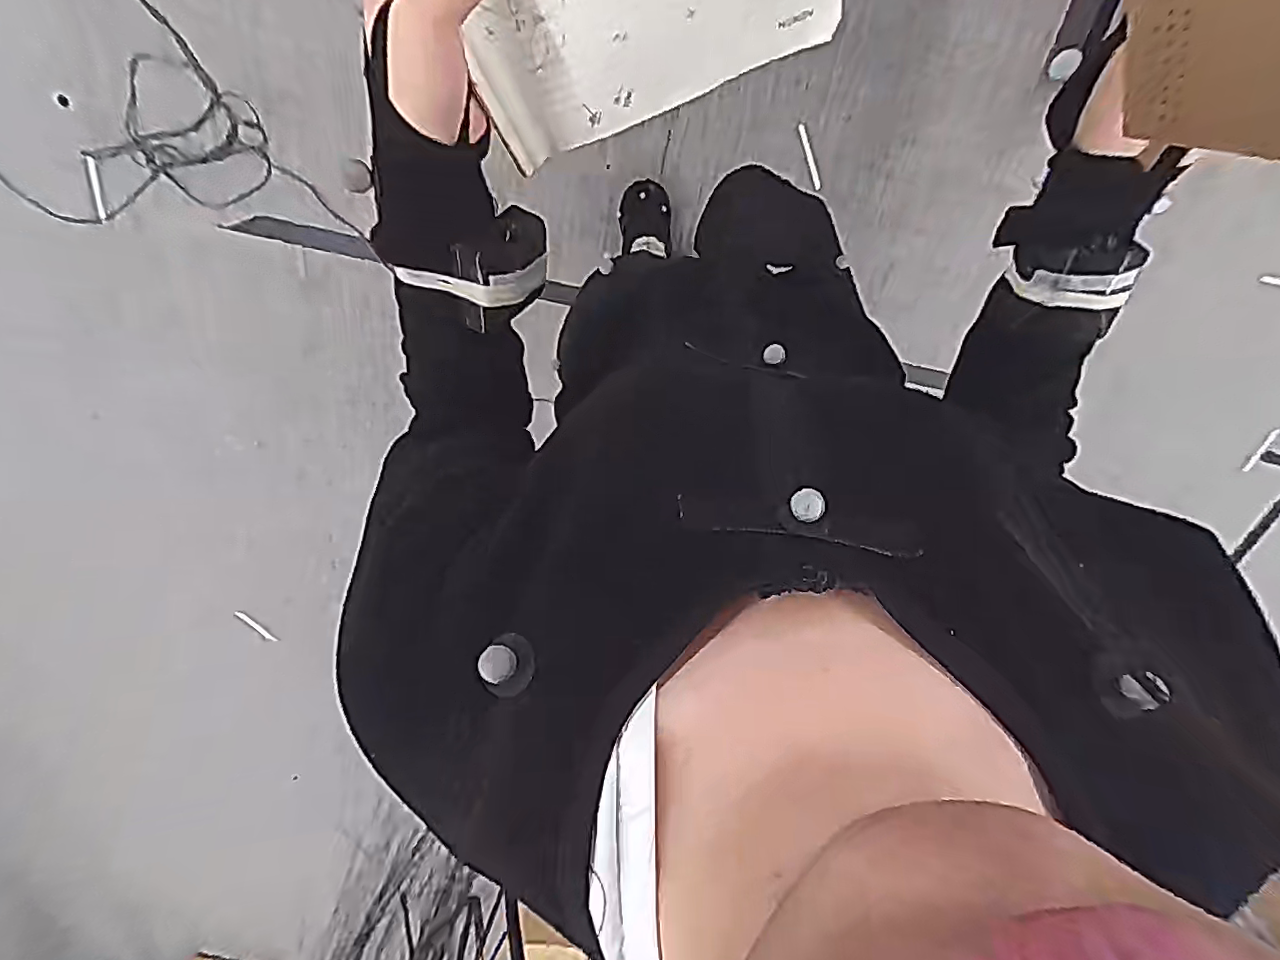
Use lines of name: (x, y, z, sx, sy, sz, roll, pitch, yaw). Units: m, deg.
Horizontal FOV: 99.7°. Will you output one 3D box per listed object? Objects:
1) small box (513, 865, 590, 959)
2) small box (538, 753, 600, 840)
small box: (-0.225, 1.132, 1.387, 0.168, 0.176, 0.179, 10, 117, -6)
small box: (-0.217, 0.979, 1.678, 0.168, 0.176, 0.179, 8, 118, -4)
